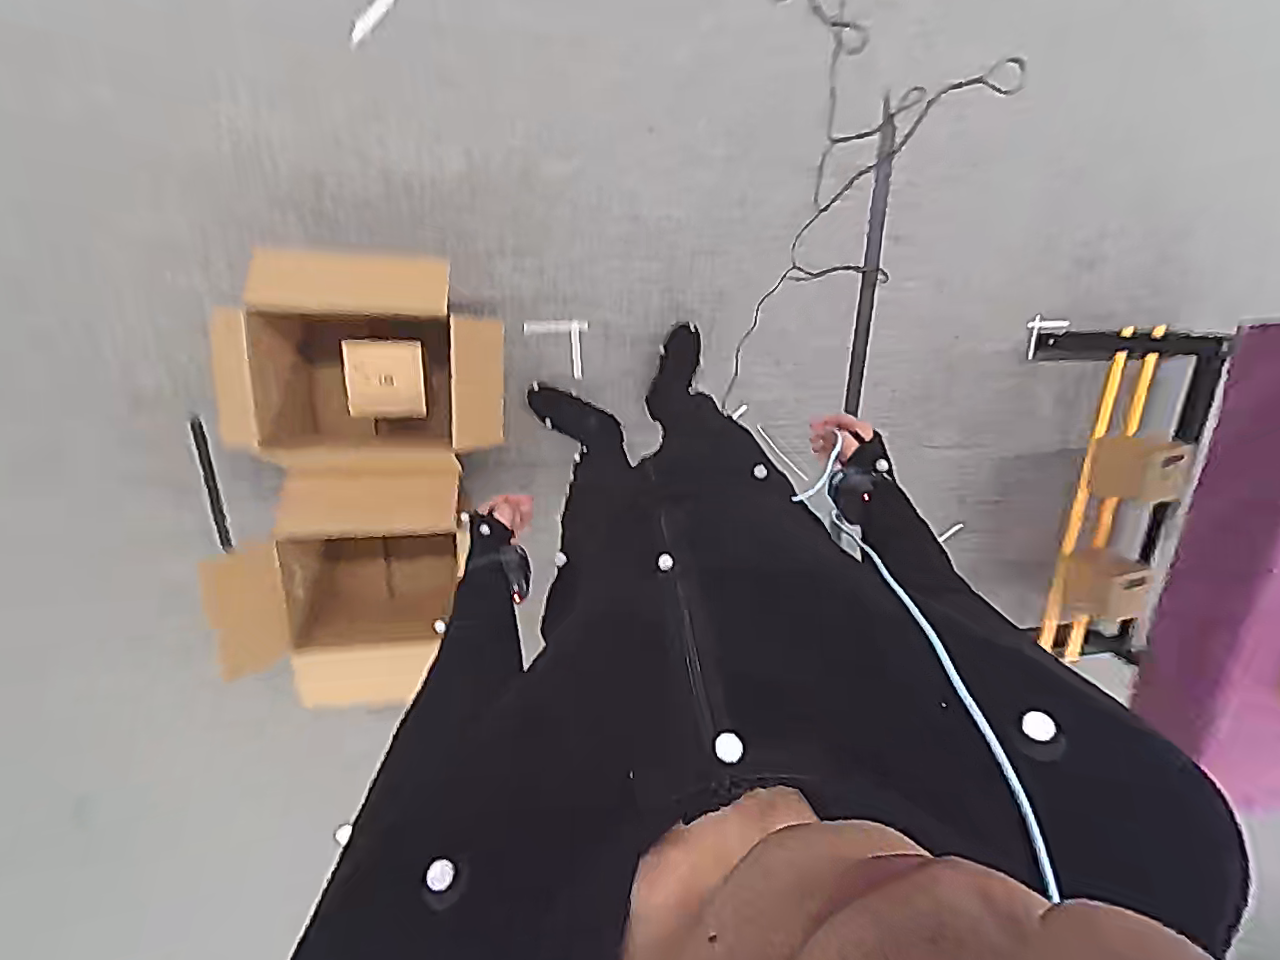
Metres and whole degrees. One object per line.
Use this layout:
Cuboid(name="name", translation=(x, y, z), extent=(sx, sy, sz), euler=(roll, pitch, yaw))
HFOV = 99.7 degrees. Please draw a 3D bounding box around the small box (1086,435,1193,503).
Cuboid(name="small box", translation=(1.560, -0.042, 1.701), extent=(0.168, 0.176, 0.179), euler=(-5, 109, -9))
